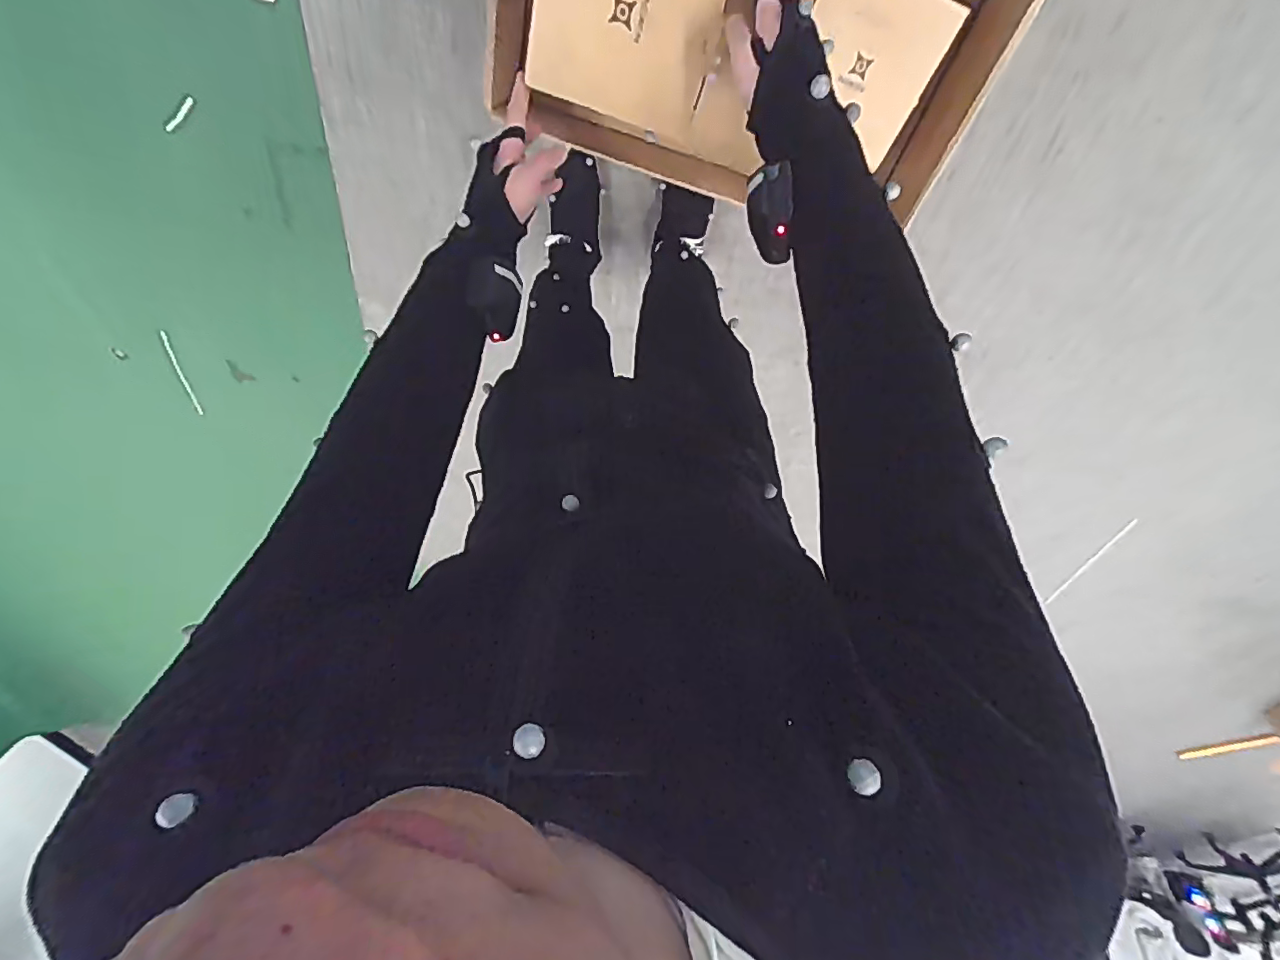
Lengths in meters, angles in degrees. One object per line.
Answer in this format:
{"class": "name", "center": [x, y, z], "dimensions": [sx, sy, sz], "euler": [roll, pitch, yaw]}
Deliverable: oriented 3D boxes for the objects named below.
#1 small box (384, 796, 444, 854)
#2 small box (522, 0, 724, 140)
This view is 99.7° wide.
{"class": "small box", "center": [-0.923, 1.411, 2.225], "dimensions": [0.168, 0.176, 0.179], "euler": [7, 132, -2]}
{"class": "small box", "center": [-0.009, -0.489, 0.566], "dimensions": [0.179, 0.176, 0.168], "euler": [15, 132, -7]}
